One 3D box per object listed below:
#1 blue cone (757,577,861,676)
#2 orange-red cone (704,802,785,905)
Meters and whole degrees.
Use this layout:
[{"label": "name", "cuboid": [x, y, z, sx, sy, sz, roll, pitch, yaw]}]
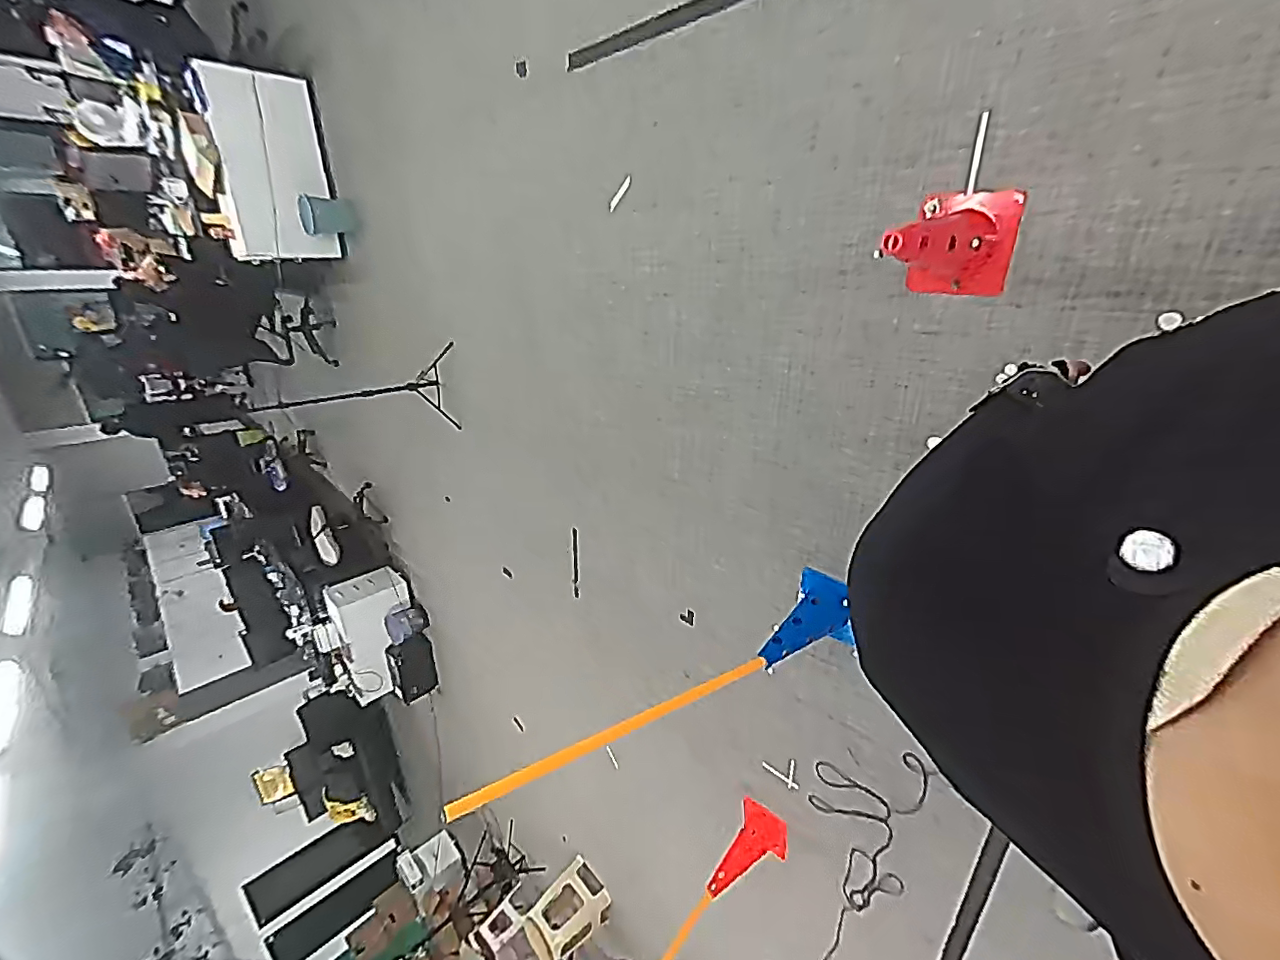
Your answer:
[{"label": "blue cone", "cuboid": [0.457, 0.444, 1.543, 0.193, 0.380, 0.192, 25, 123, 41]}, {"label": "orange-red cone", "cuboid": [0.368, 1.440, 2.027, 0.199, 0.360, 0.198, 14, 116, 43]}]
